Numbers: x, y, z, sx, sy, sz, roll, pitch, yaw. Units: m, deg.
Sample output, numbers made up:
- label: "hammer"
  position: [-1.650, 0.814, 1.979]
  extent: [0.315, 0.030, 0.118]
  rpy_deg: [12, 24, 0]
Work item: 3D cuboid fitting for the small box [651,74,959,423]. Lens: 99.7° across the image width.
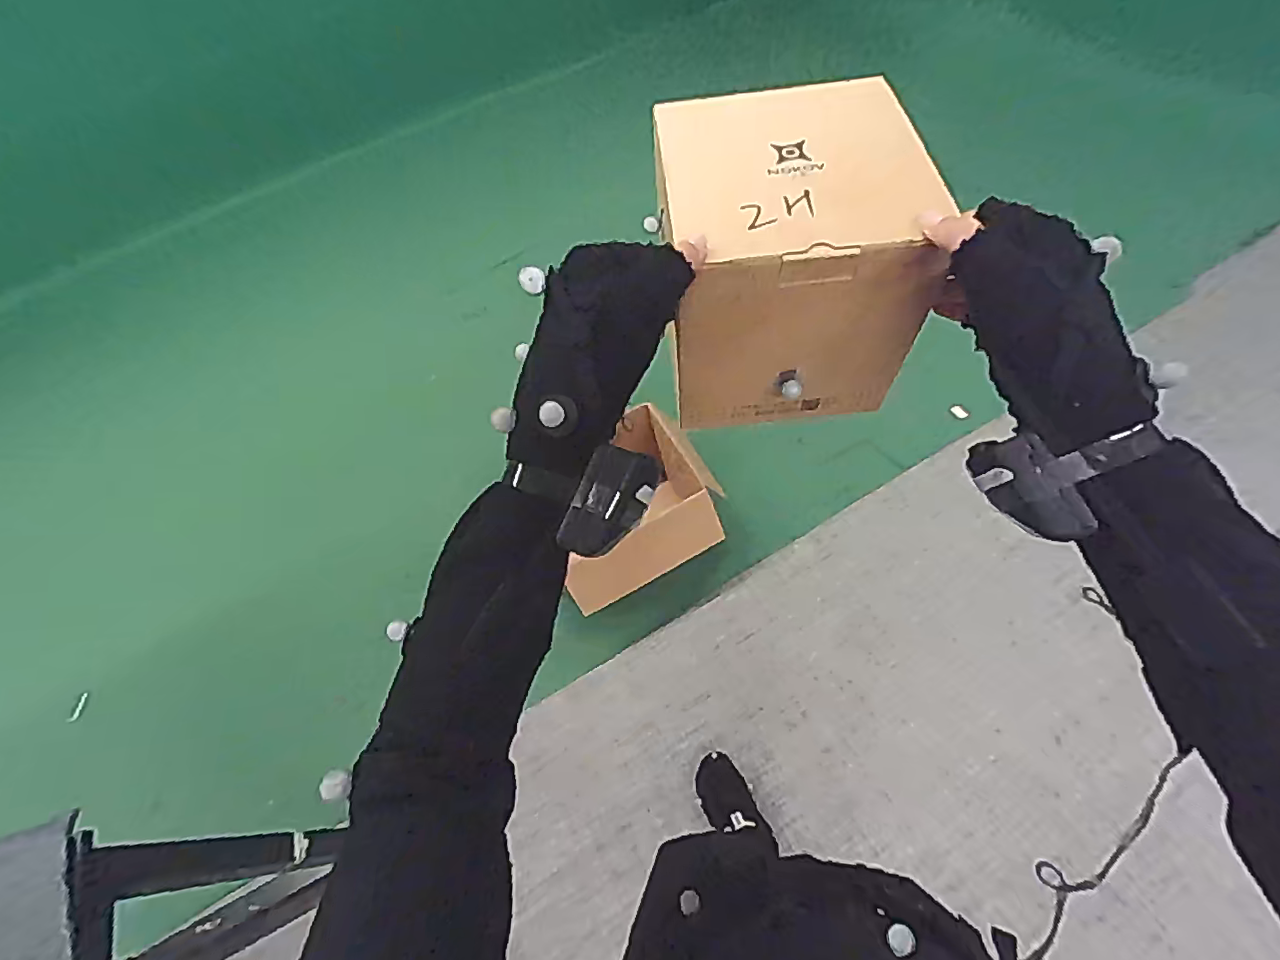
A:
- label: "small box"
  position: [0.097, -0.166, 0.413]
  extent: [0.168, 0.176, 0.179]
  rpy_deg: [-6, 60, 3]
